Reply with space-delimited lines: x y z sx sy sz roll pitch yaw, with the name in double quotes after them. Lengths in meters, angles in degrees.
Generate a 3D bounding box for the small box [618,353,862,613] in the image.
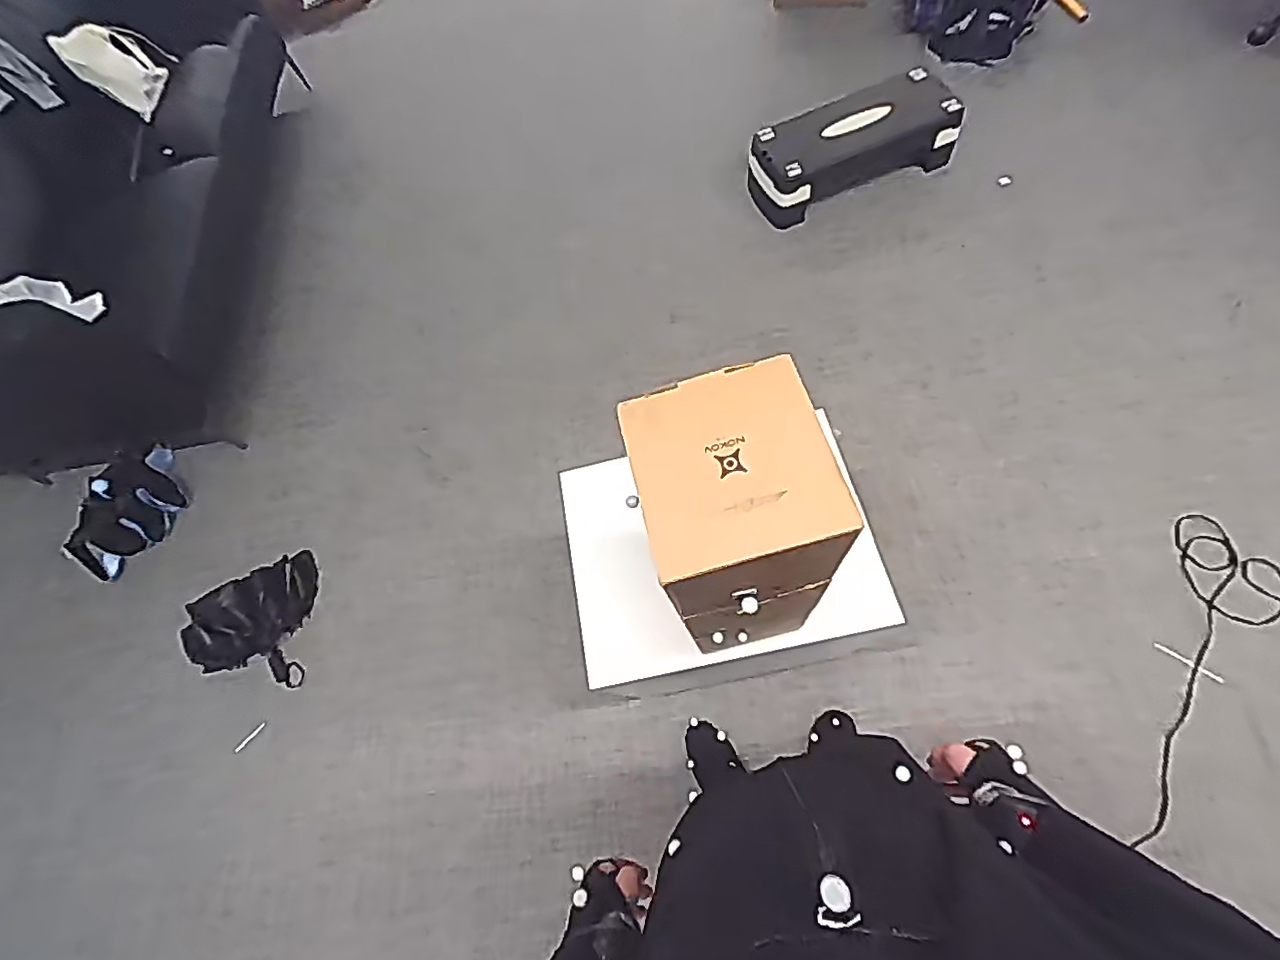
0.088 0.013 0.528 0.168 0.176 0.179 -17 64 3 "small box"

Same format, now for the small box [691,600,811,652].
0.142 0.147 0.823 0.168 0.176 0.179 -18 64 3 "small box"

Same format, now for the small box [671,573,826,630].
0.114 0.080 0.675 0.168 0.176 0.179 -16 63 3 "small box"
